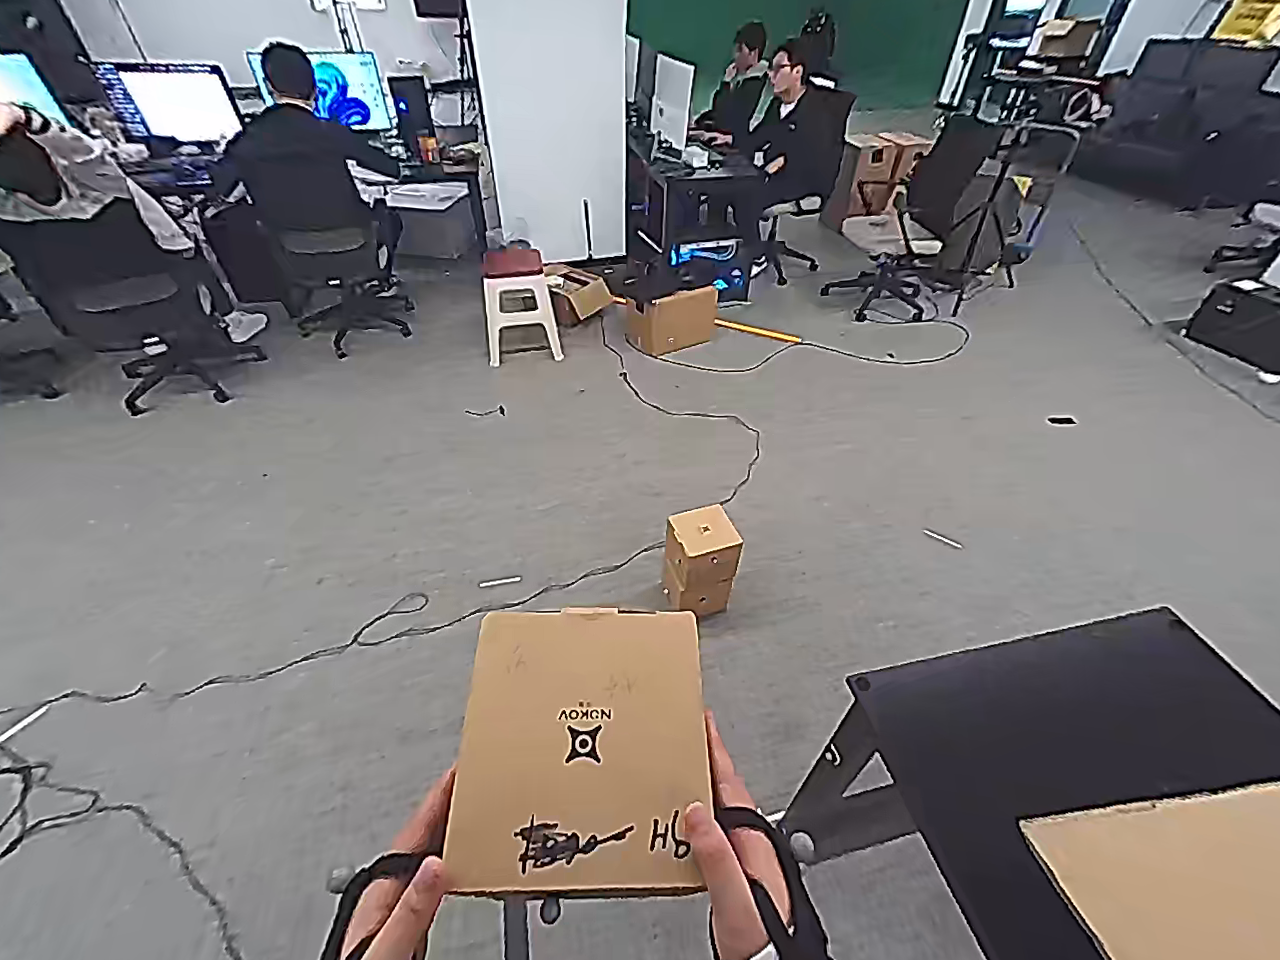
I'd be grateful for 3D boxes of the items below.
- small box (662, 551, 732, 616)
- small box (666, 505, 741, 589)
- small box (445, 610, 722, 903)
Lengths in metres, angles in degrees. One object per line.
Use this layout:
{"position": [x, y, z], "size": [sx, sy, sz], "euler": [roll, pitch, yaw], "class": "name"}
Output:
{"position": [0.179, 0.329, 1.752], "size": [0.179, 0.176, 0.168], "euler": [-12, 44, -12], "class": "small box"}
{"position": [0.186, 0.208, 1.644], "size": [0.179, 0.176, 0.168], "euler": [-13, 45, -16], "class": "small box"}
{"position": [-0.037, 0.220, 0.429], "size": [0.168, 0.176, 0.179], "euler": [0, 50, -2], "class": "small box"}
